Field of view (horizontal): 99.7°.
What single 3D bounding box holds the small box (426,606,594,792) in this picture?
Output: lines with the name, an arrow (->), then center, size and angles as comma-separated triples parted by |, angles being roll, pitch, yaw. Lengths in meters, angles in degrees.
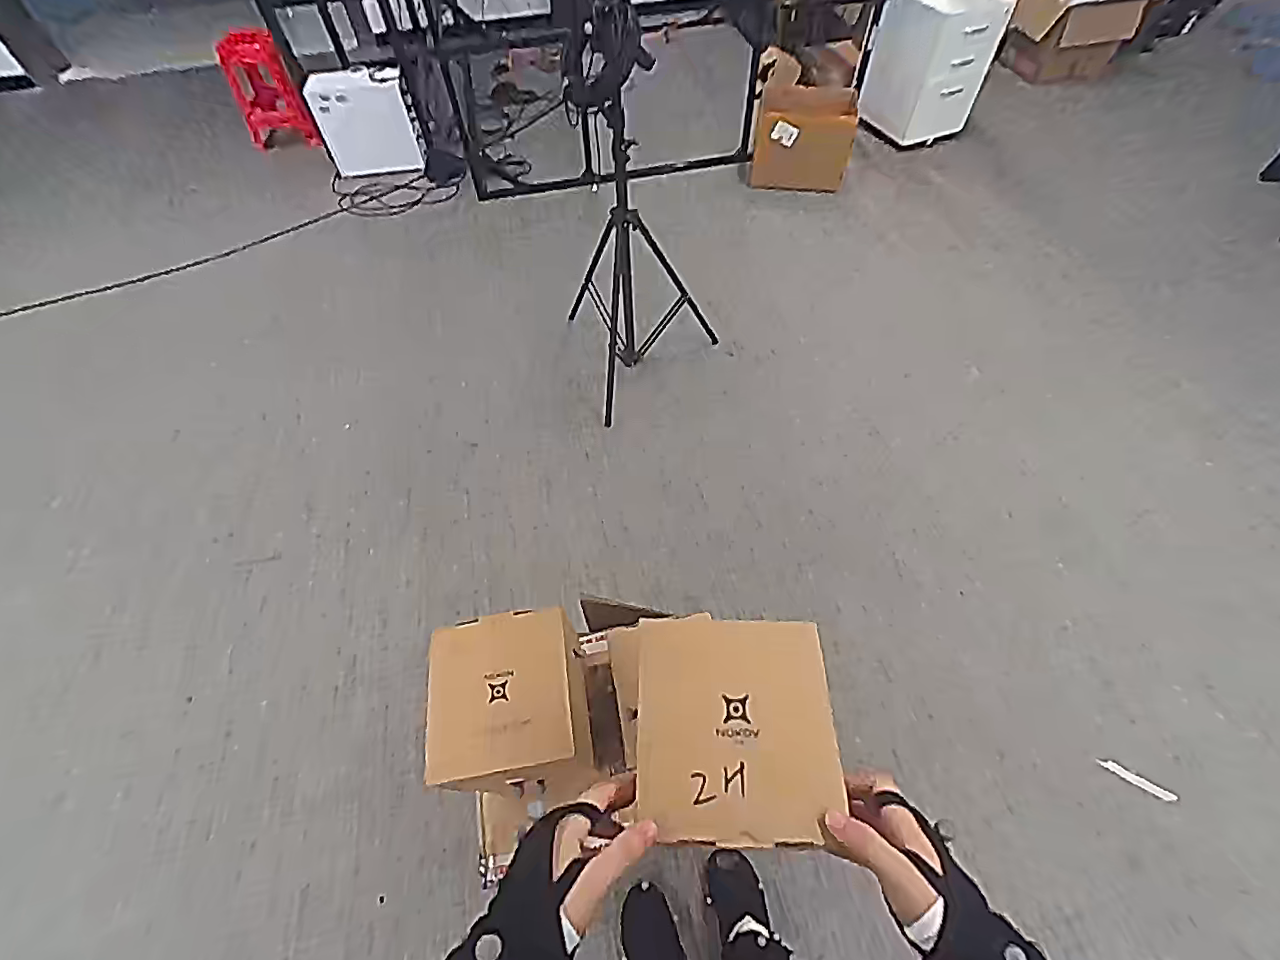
small box -> -0.157, 0.284, 0.692 | 0.168, 0.176, 0.179 | -11, 59, -2

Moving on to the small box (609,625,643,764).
small box -> 0.045, 0.334, 0.850 | 0.168, 0.176, 0.179 | -9, 58, -6

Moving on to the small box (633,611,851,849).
small box -> 0.079, 0.242, 0.518 | 0.168, 0.176, 0.179 | 1, 54, 1
